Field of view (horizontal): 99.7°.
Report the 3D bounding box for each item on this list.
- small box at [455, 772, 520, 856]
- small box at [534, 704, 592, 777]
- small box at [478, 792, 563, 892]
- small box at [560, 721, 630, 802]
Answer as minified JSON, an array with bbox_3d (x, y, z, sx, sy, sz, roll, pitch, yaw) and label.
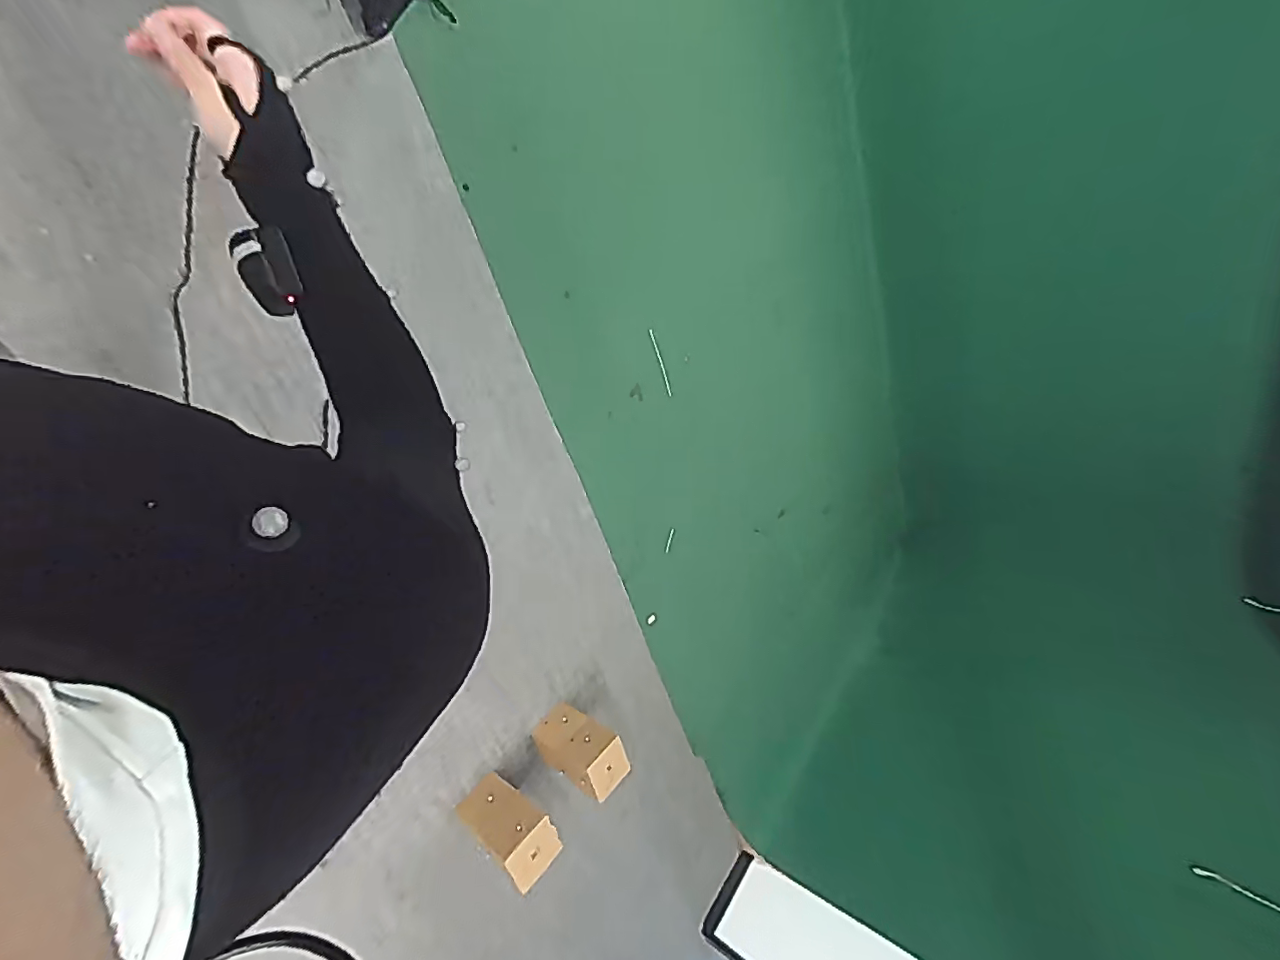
[{"bbox_3d":[-0.501,1.155,1.866,0.179,0.176,0.168,-38,119,-38],"label":"small box"},{"bbox_3d":[-0.282,0.993,2.077,0.168,0.176,0.179,-35,119,-38],"label":"small box"},{"bbox_3d":[-0.387,1.158,1.748,0.179,0.176,0.168,-35,118,-38],"label":"small box"},{"bbox_3d":[-0.166,1.008,1.960,0.168,0.176,0.179,-32,117,-38],"label":"small box"}]
